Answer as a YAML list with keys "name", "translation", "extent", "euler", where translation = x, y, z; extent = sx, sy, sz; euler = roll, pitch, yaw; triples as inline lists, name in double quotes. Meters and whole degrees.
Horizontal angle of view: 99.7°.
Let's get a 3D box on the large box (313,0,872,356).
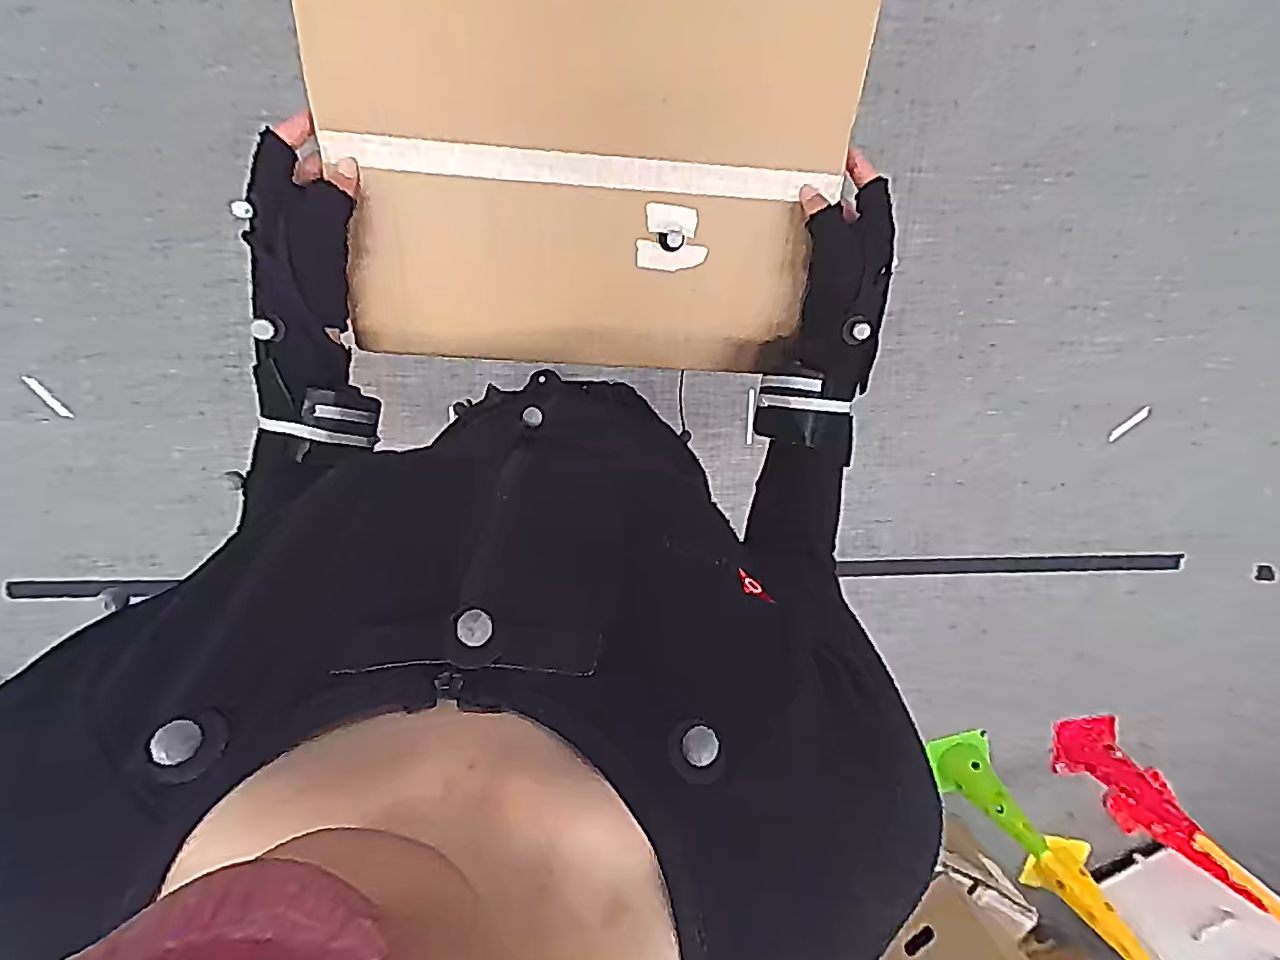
- name: "large box"
  translation: [-0.047, -0.325, 0.561]
  extent: [0.408, 0.320, 0.320]
  euler: [1, 119, -6]
